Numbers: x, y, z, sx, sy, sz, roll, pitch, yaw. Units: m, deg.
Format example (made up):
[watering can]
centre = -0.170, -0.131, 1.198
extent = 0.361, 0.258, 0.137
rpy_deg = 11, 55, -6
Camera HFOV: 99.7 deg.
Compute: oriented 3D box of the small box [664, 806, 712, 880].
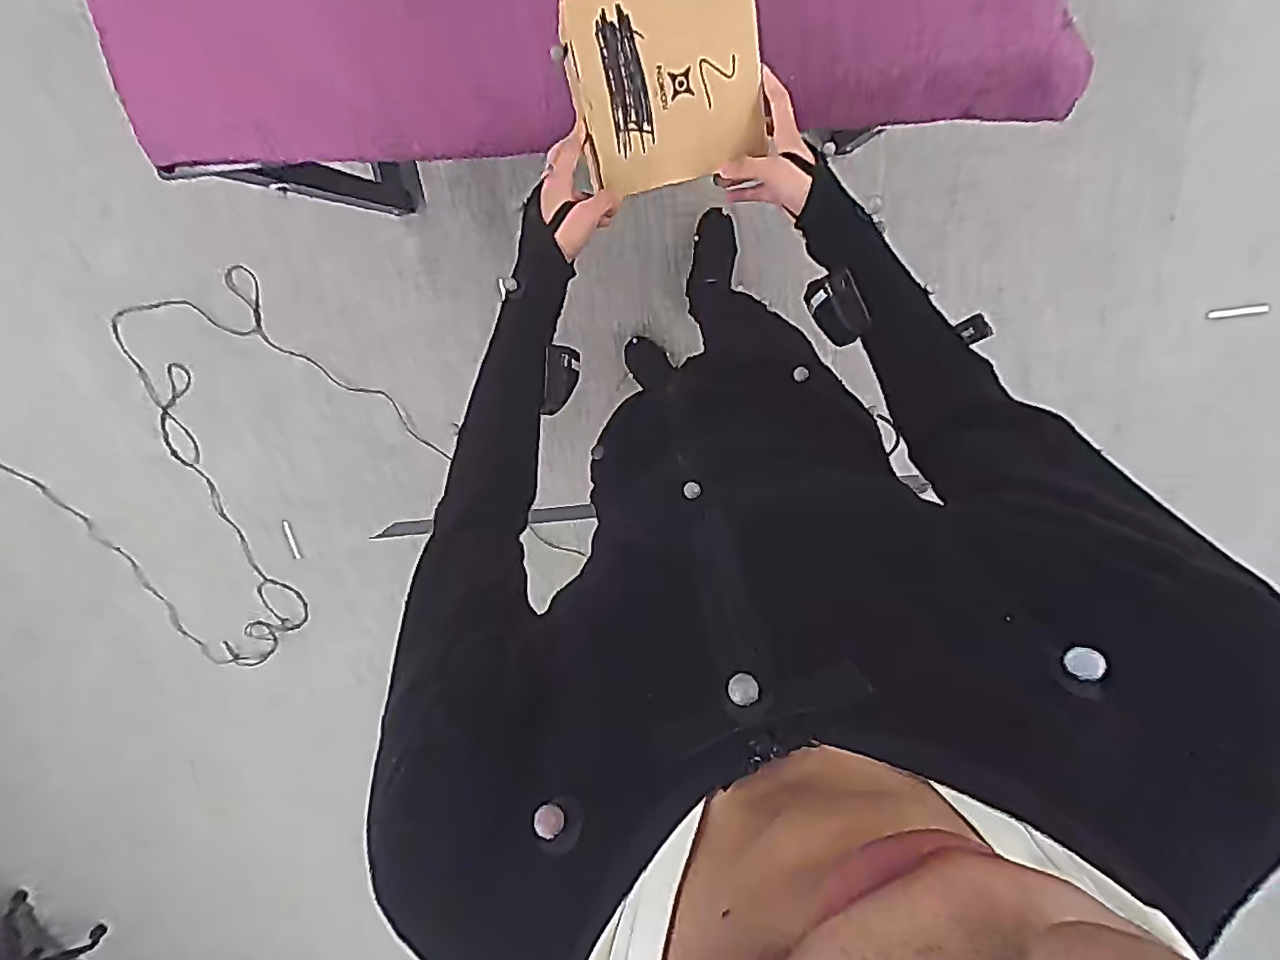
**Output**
[small box]
centre = 0.184, 1.397, 2.086
extent = 0.168, 0.176, 0.179
rpy_deg = -7, 108, 4
